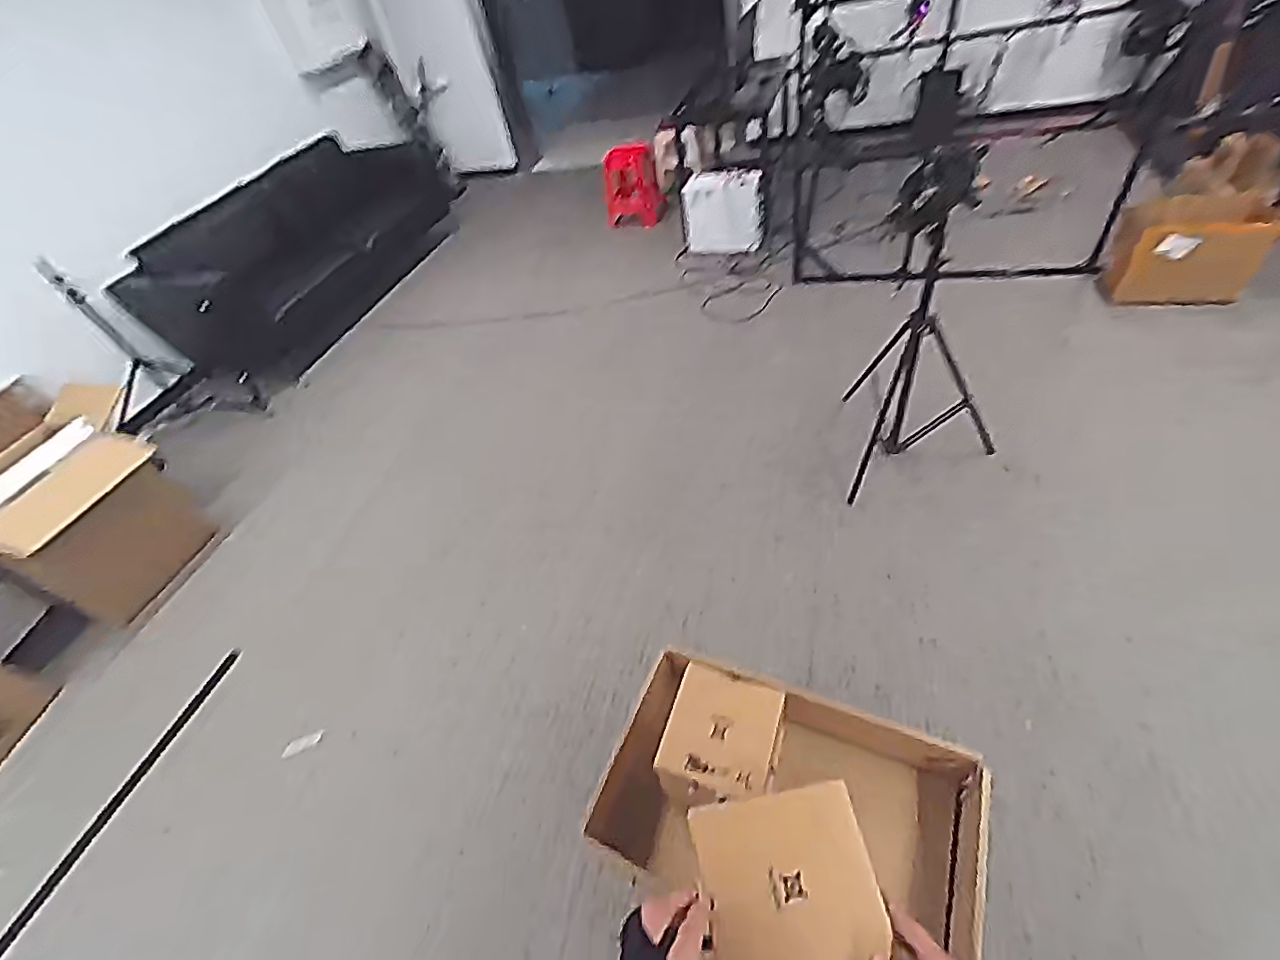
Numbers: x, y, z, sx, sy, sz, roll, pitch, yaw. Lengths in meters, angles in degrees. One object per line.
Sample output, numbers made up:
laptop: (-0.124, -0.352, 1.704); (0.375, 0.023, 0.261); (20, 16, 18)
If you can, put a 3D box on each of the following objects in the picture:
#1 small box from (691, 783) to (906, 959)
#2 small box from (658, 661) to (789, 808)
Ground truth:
small box: (0.162, 0.448, 0.607); (0.179, 0.176, 0.168); (-13, 58, 2)
small box: (0.142, 0.438, 0.900); (0.168, 0.176, 0.179); (12, 50, 21)
